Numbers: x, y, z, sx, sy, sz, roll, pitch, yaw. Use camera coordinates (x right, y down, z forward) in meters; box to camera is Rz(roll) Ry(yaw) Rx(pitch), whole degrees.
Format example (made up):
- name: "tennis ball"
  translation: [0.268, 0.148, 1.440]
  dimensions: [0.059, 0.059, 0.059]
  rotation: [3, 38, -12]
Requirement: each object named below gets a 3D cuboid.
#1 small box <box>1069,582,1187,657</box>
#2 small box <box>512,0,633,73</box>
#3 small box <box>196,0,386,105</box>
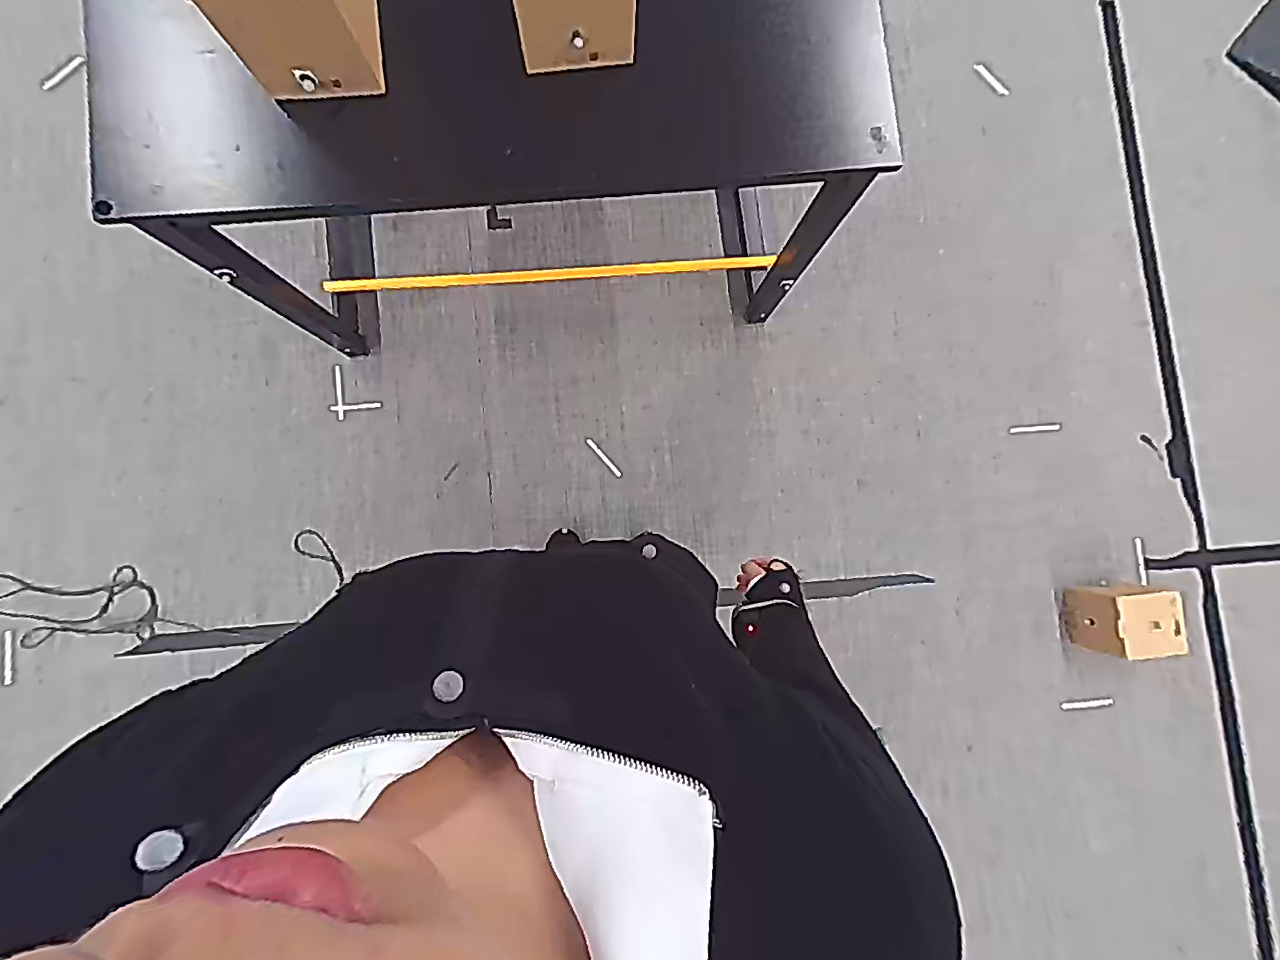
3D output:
- name: "small box"
  translation: [1.321, 0.378, 1.481]
  dimensions: [0.179, 0.176, 0.168]
  rotation: [-5, 86, -2]
- name: "small box"
  translation: [-0.103, -0.725, 0.761]
  dimensions: [0.168, 0.176, 0.179]
  rotation: [-8, 86, -3]
- name: "small box"
  translation: [-0.470, -0.661, 0.740]
  dimensions: [0.168, 0.176, 0.179]
  rotation: [-7, 87, -2]
